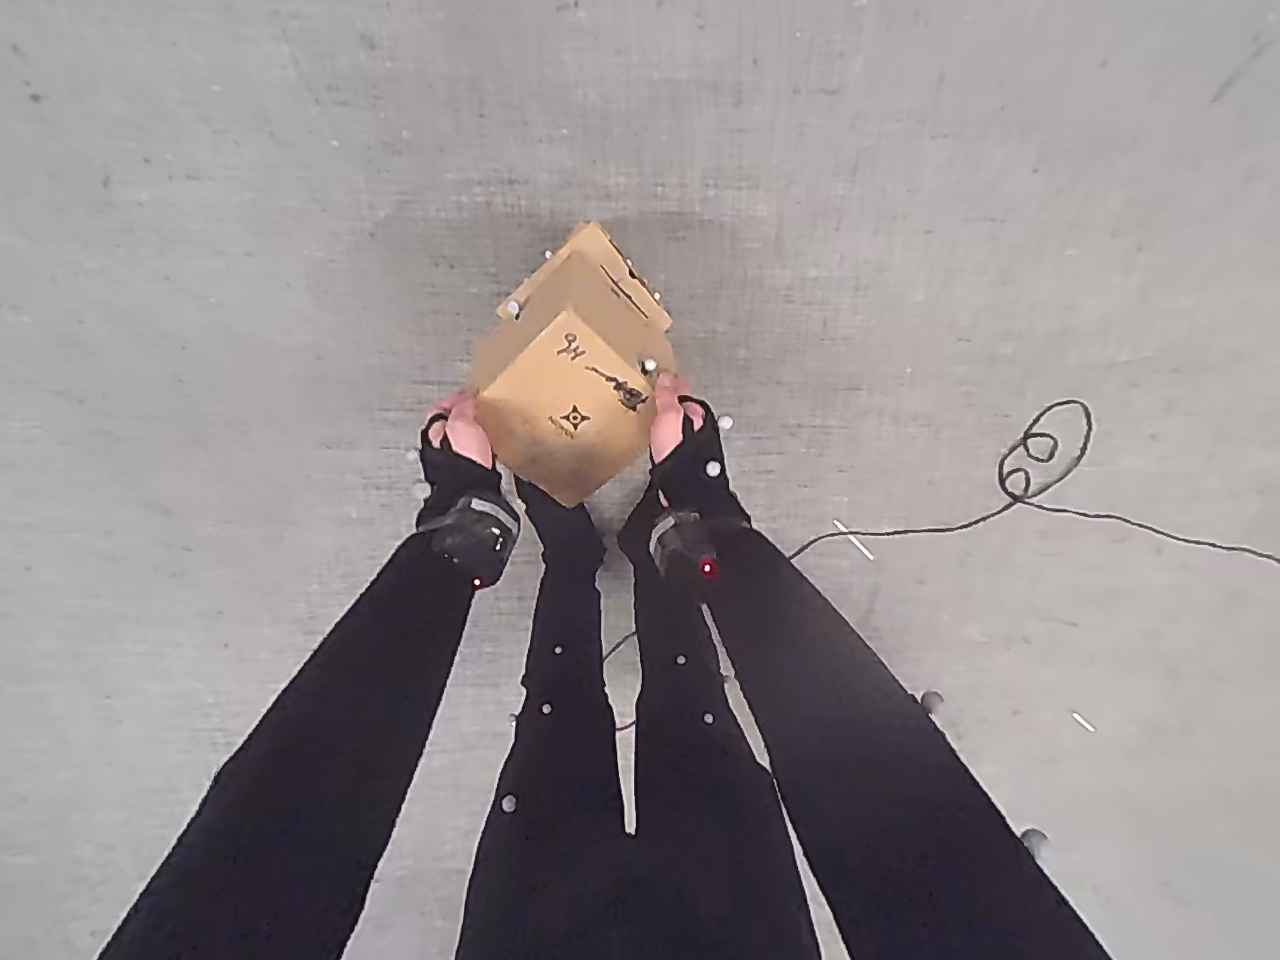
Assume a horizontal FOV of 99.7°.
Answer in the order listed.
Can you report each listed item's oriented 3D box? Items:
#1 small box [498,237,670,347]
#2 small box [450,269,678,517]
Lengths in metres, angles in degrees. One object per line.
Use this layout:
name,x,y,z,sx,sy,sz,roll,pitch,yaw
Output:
small box,-0.080,-0.230,0.802,0.179,0.176,0.168,-38,107,10
small box,-0.077,-0.097,0.606,0.179,0.176,0.168,-35,123,24
